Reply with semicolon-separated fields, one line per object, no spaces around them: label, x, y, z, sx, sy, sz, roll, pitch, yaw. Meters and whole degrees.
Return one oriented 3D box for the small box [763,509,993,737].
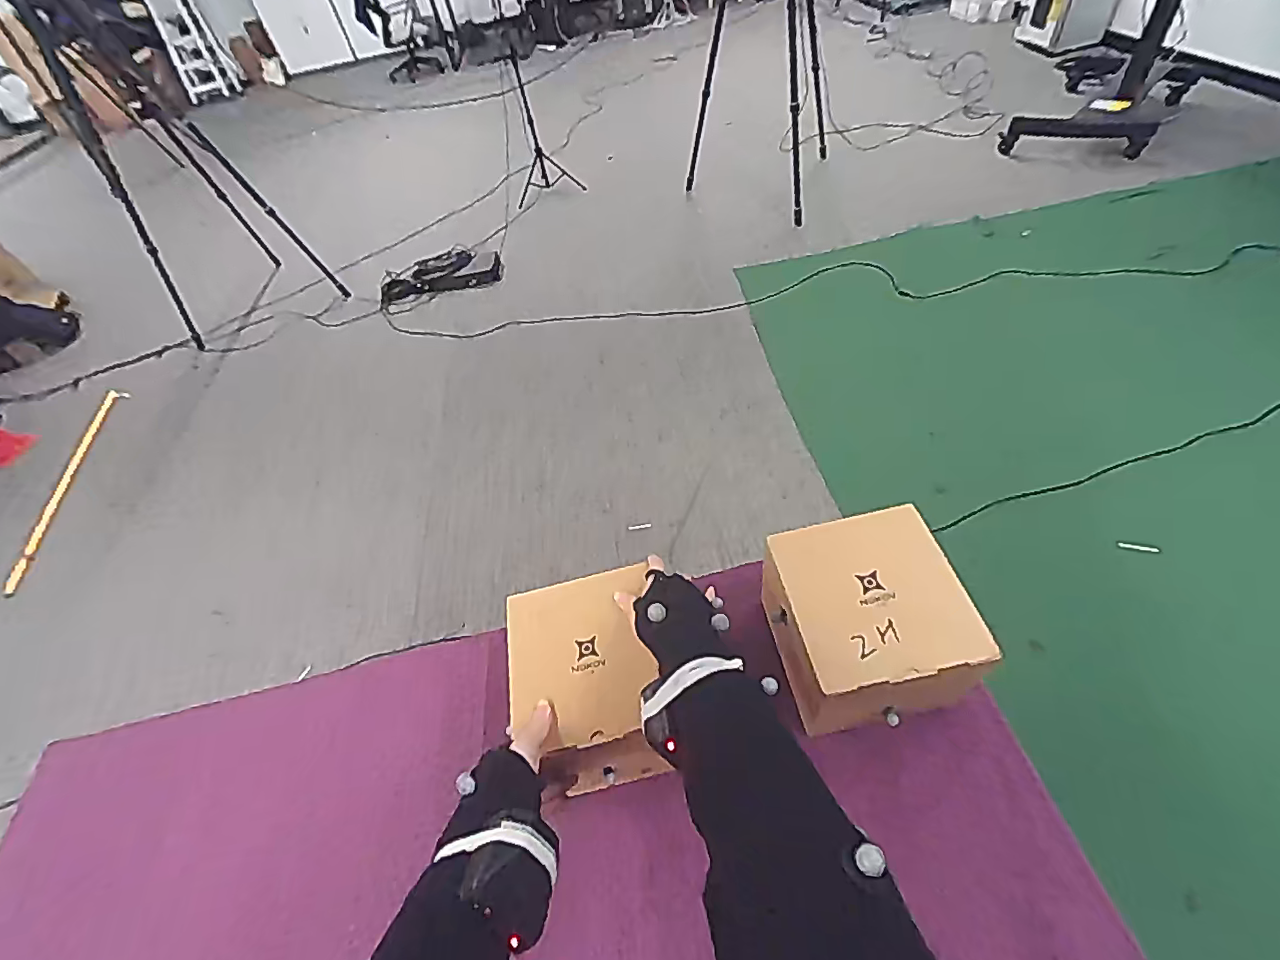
small box;0.238;0.162;0.601;0.168;0.176;0.179;-13;52;2

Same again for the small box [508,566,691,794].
small box;-0.043;0.228;0.612;0.168;0.176;0.179;-14;50;0
